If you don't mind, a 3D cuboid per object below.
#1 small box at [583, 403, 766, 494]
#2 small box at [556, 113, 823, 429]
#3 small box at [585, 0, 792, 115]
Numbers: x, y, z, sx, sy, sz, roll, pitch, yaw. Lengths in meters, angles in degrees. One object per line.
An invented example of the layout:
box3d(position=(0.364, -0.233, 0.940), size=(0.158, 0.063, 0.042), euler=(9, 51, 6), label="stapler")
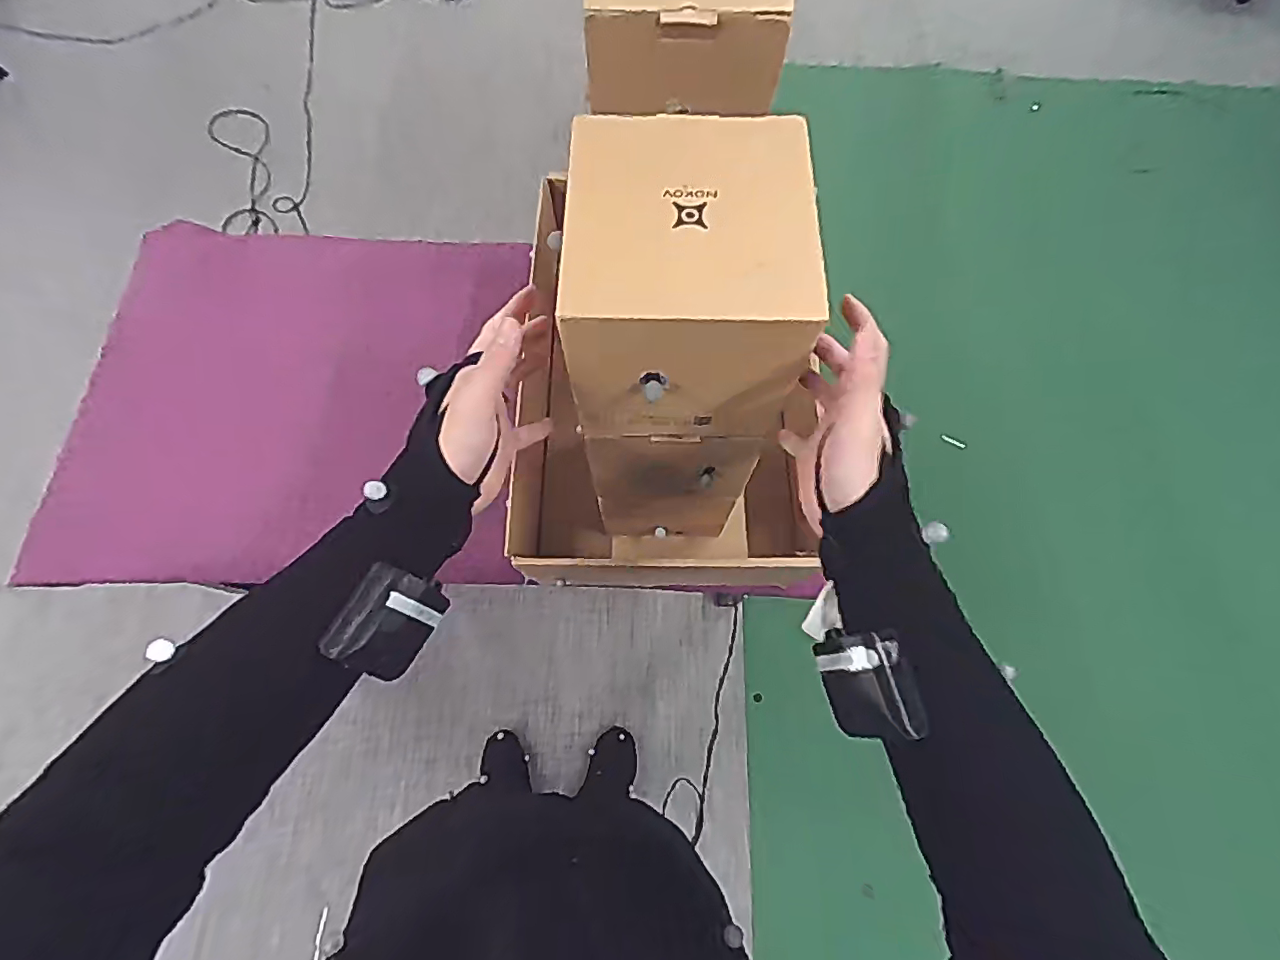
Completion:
box3d(position=(0.035, -0.091, 0.580), size=(0.168, 0.176, 0.179), euler=(1, 68, 1), label="small box")
box3d(position=(0.034, -0.151, 0.430), size=(0.168, 0.176, 0.179), euler=(1, 69, 1), label="small box")
box3d(position=(0.044, -0.414, 0.523), size=(0.168, 0.176, 0.179), euler=(3, 72, 1), label="small box")
